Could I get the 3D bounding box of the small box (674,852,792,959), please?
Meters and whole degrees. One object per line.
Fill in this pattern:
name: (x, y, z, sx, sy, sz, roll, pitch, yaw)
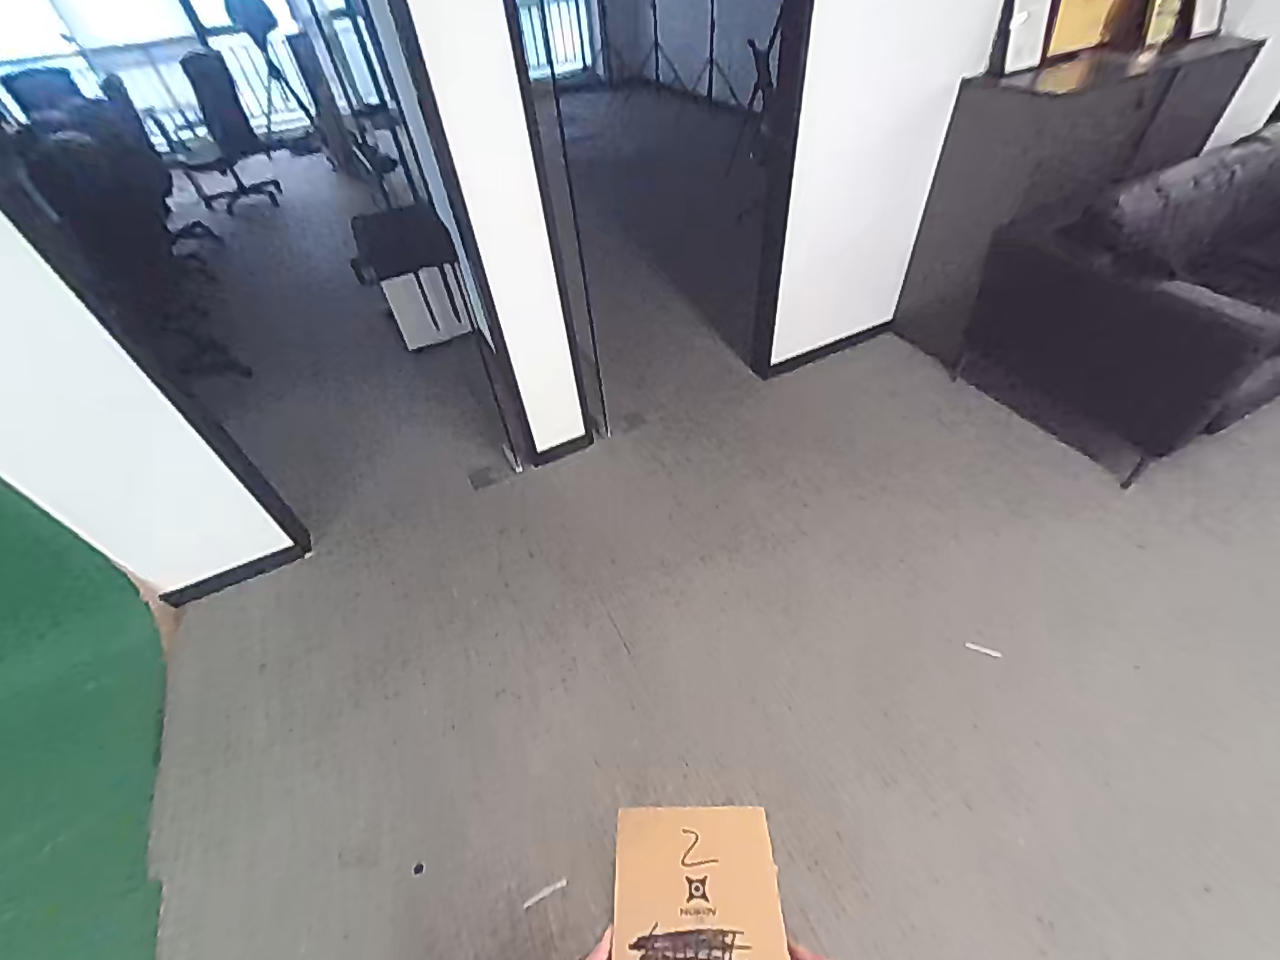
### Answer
small box: (0.169, 0.872, 1.058, 0.168, 0.176, 0.179, -16, 48, -12)
